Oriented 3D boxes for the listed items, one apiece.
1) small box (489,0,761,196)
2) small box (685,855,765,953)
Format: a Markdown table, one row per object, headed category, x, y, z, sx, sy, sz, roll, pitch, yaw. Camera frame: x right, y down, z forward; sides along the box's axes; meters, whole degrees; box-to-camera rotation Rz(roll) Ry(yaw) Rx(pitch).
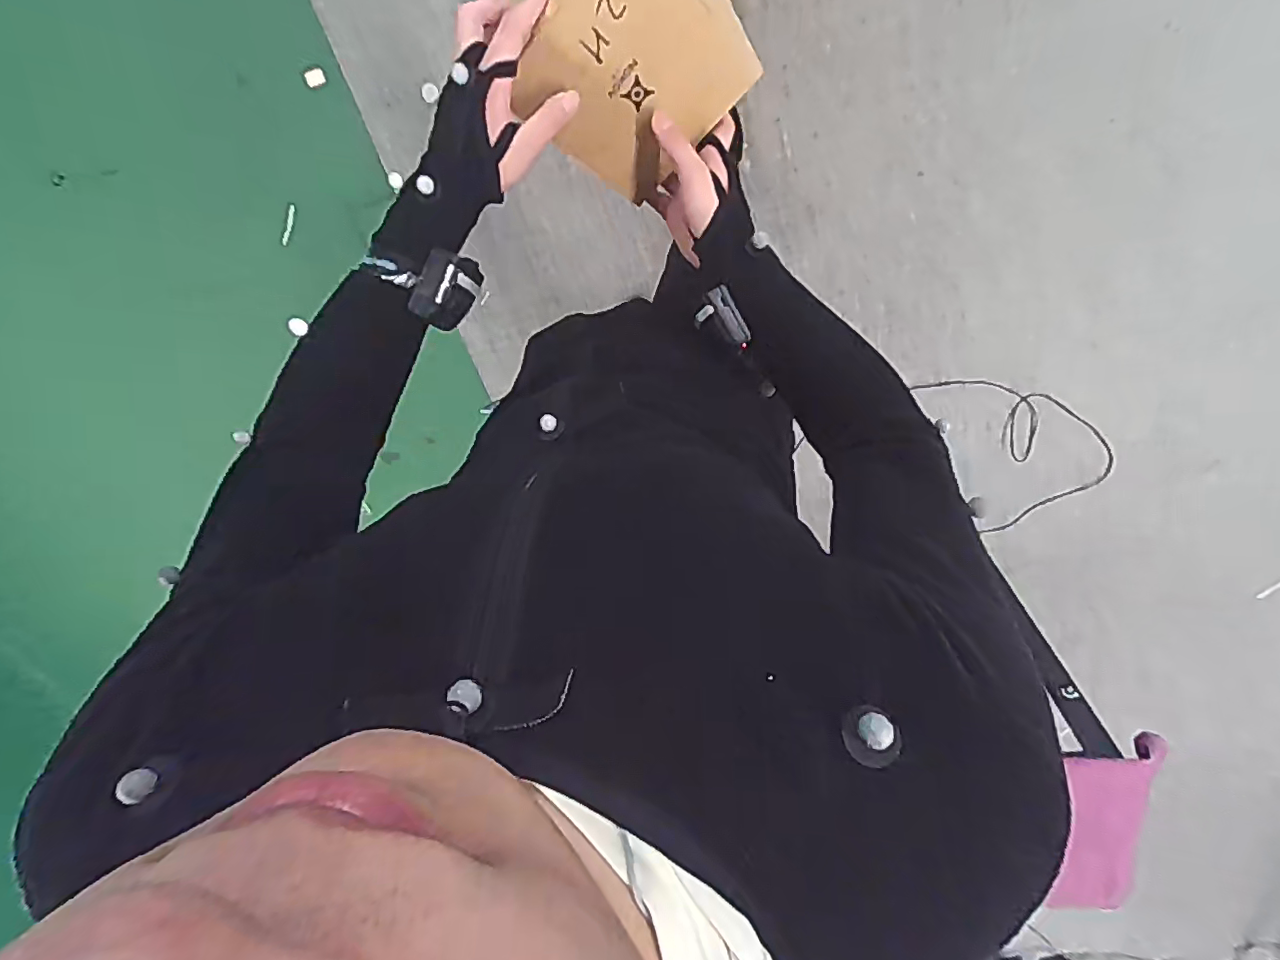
| category | x | y | z | sx | sy | sz | roll | pitch | yaw |
| --- | --- | --- | --- | --- | --- | --- | --- | --- | --- |
| small box | -0.020 | -0.417 | 0.495 | 0.179 | 0.176 | 0.168 | 16 | 143 | -42 |
| small box | 0.239 | 1.179 | 1.507 | 0.179 | 0.176 | 0.168 | -17 | 117 | 17 |
